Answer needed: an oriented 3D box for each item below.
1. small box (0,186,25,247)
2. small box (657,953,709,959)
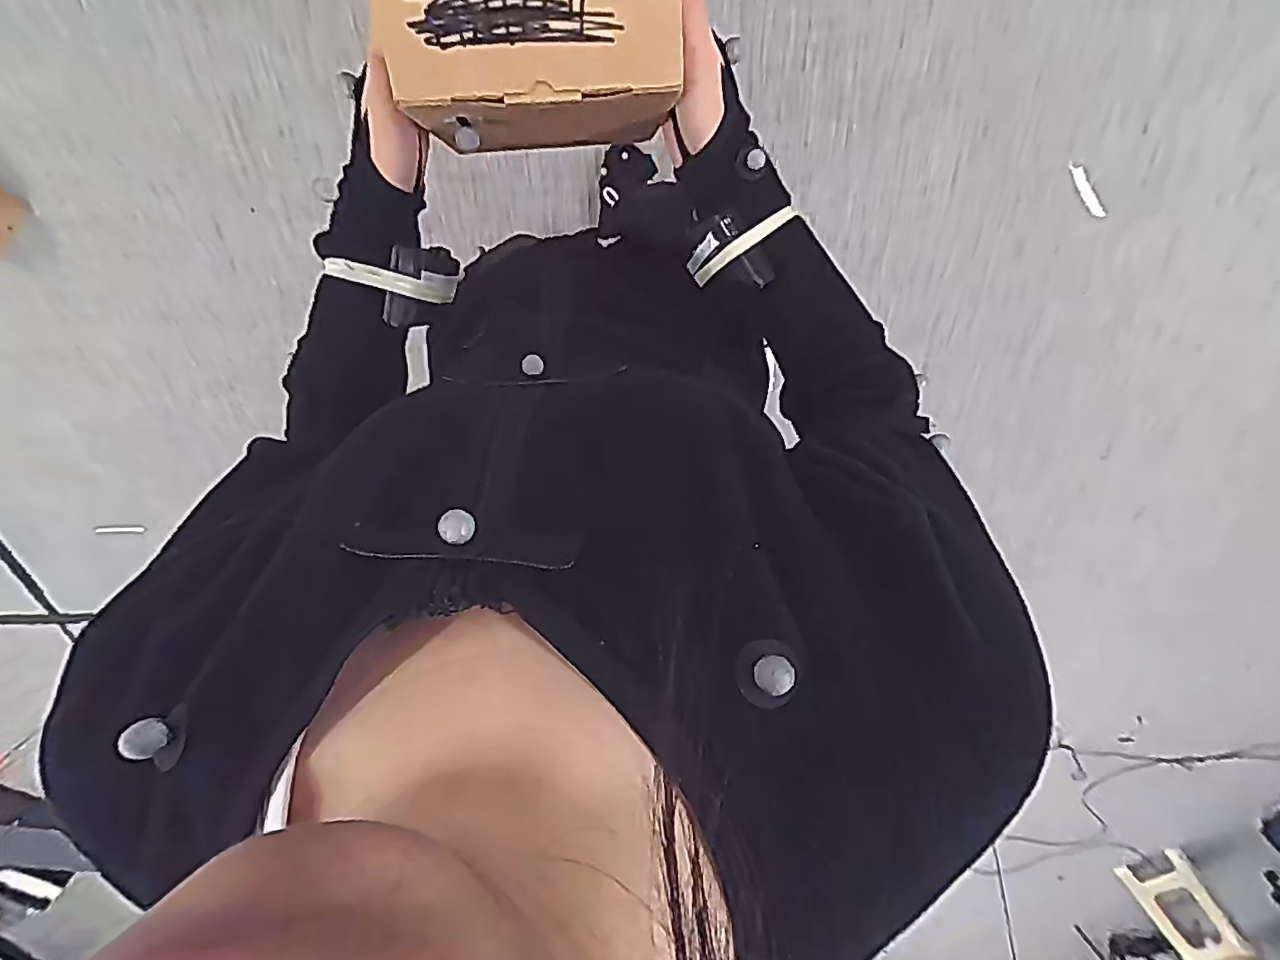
[{"bbox_3d":[-1.508,-0.594,1.156,0.168,0.176,0.179,-35,115,18],"label":"small box"},{"bbox_3d":[0.132,1.594,1.666,0.179,0.176,0.168,-4,123,1],"label":"small box"}]
